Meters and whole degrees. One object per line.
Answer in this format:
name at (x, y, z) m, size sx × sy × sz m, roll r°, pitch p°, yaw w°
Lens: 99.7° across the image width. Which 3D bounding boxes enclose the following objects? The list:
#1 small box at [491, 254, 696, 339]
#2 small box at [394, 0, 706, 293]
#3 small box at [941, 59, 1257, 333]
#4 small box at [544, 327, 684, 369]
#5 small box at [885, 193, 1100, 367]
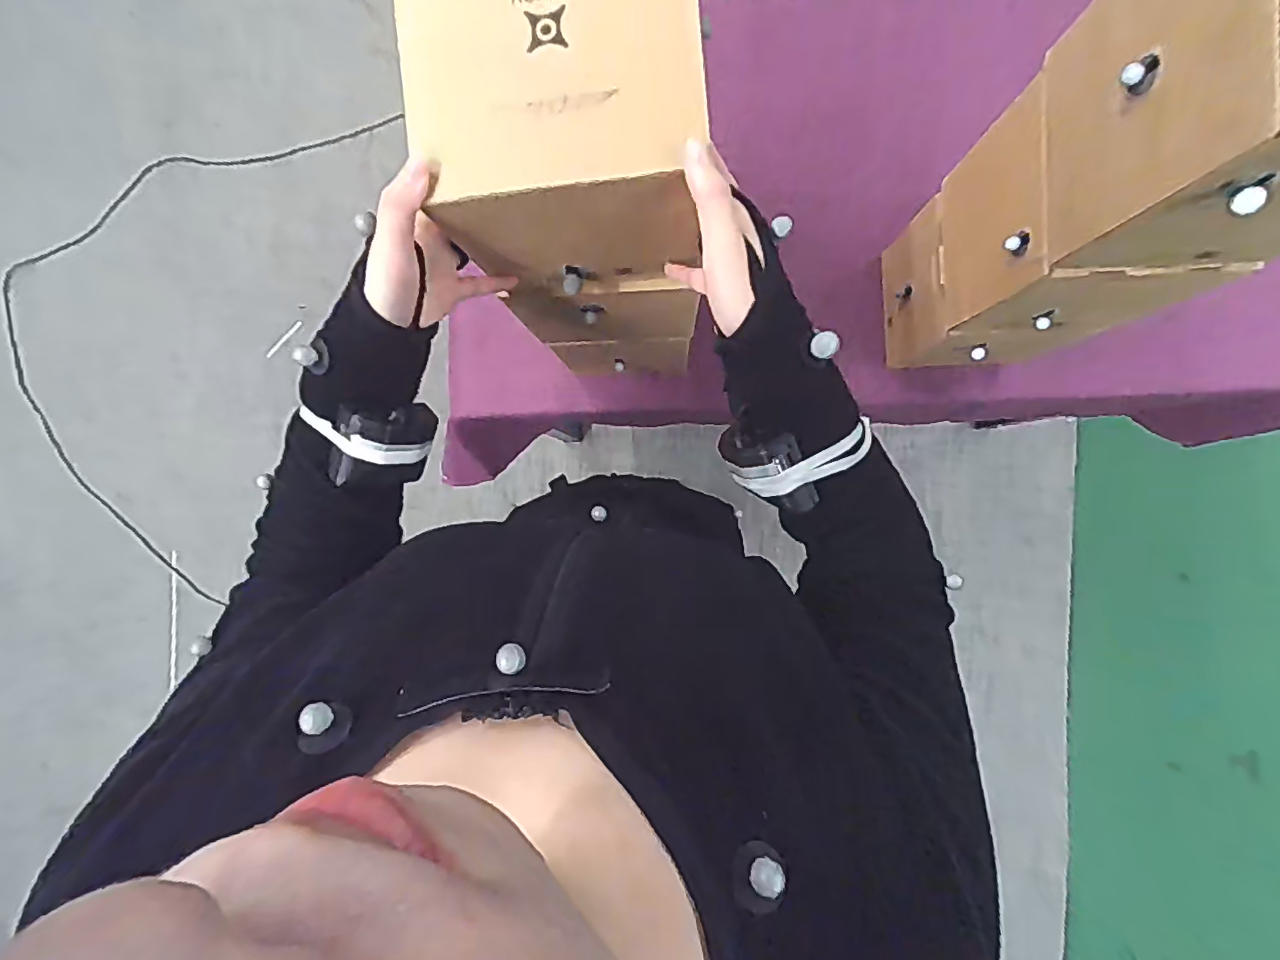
small box at (-0.036, -0.240, 0.532) m, size 0.179 × 0.176 × 0.168 m, roll -1°, pitch 91°, yaw 2°
small box at (-0.046, -0.247, 0.369) m, size 0.168 × 0.176 × 0.179 m, roll -4°, pitch 92°, yaw 4°
small box at (0.409, -0.249, 0.513) m, size 0.168 × 0.176 × 0.179 m, roll -1°, pitch 90°, yaw 3°
small box at (-0.026, -0.242, 0.698) m, size 0.168 × 0.176 × 0.179 m, roll -1°, pitch 89°, yaw 2°
small box at (0.420, -0.241, 0.675) m, size 0.179 × 0.176 × 0.168 m, roll -2°, pitch 90°, yaw 4°
